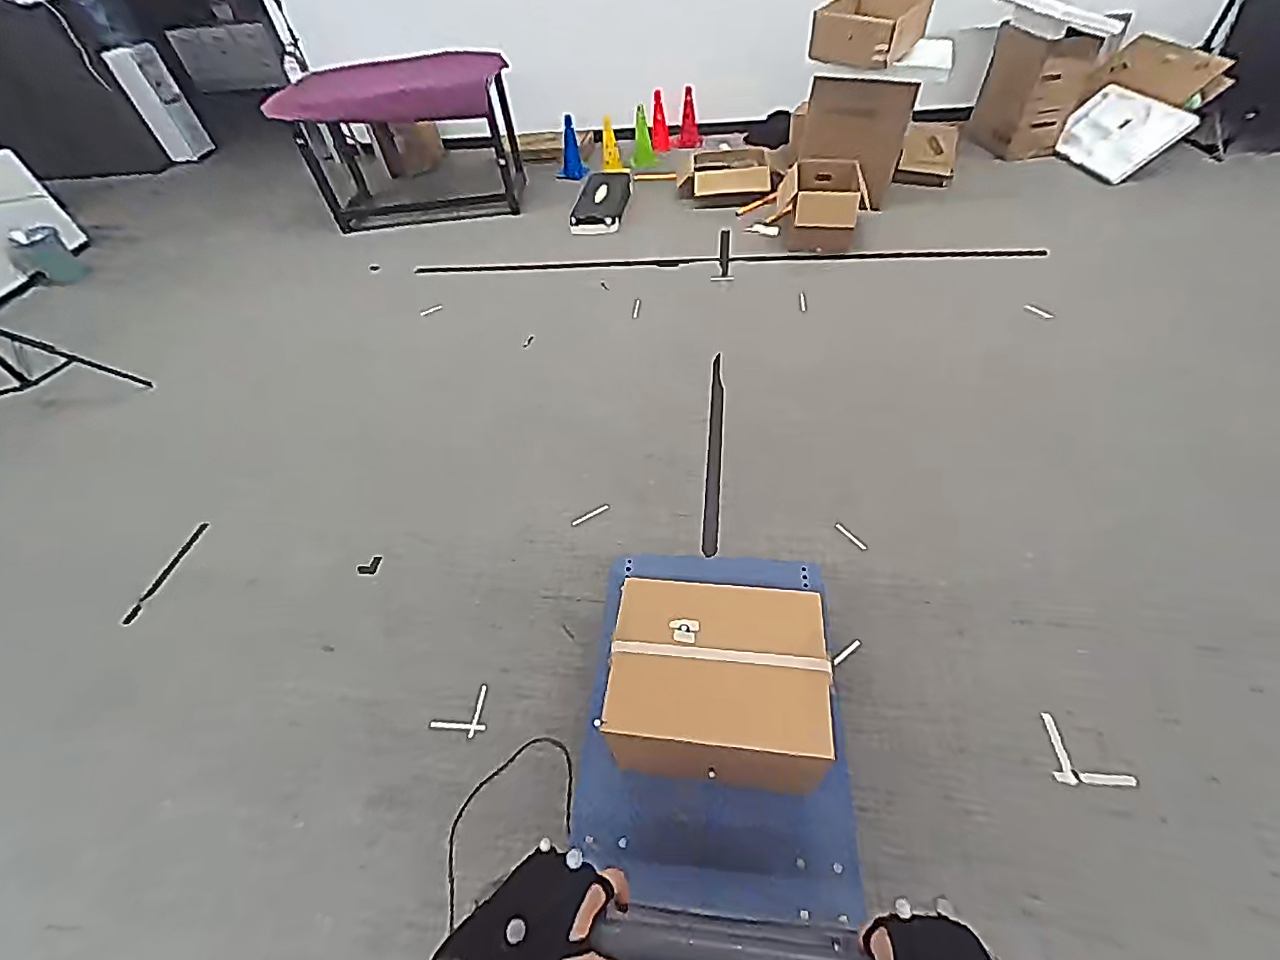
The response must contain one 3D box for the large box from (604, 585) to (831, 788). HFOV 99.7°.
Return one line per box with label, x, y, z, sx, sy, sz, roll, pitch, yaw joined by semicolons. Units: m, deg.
large box;0.163;0.442;1.155;0.408;0.320;0.320;2;49;9
